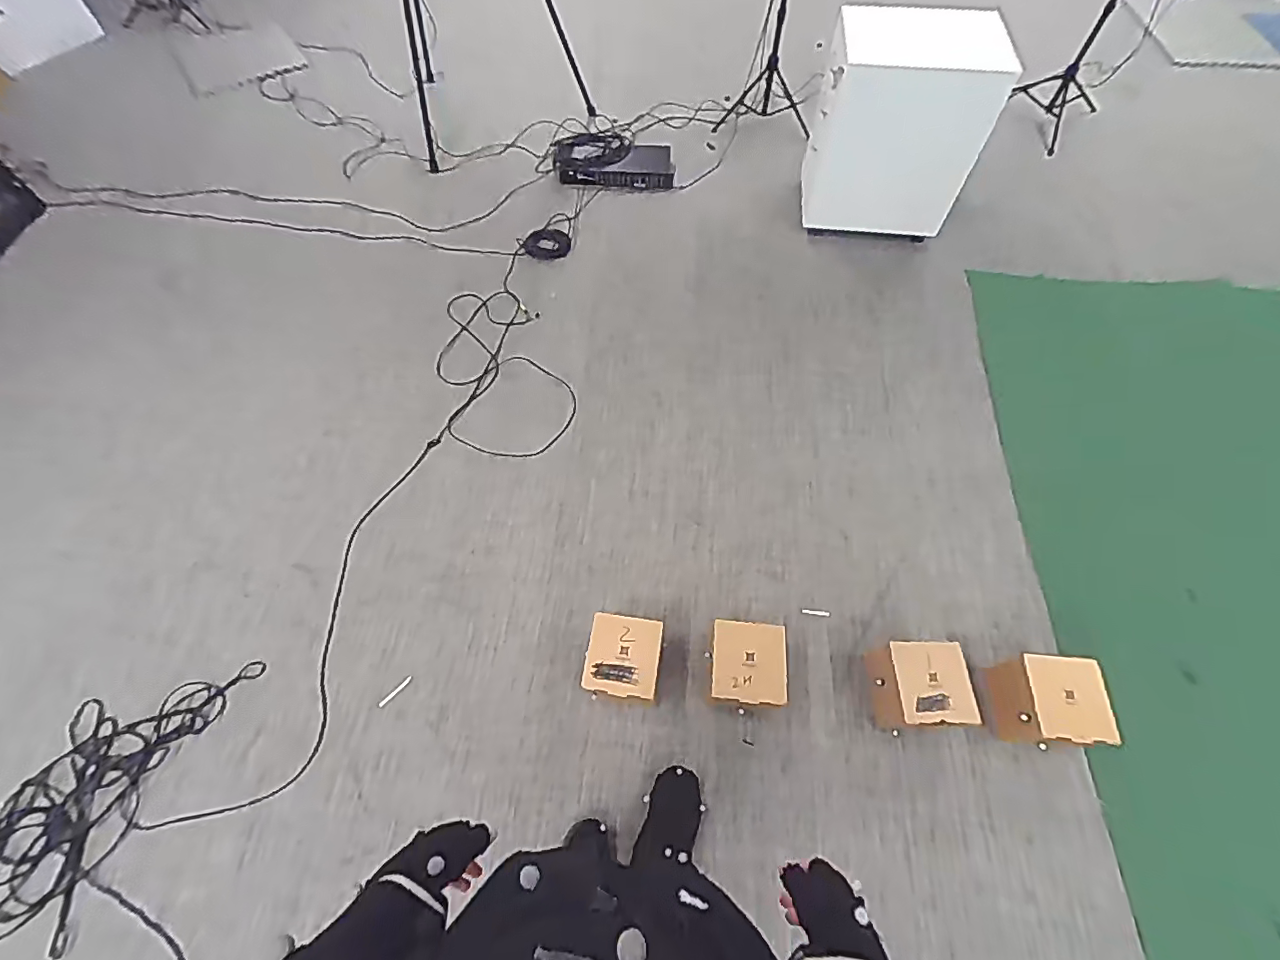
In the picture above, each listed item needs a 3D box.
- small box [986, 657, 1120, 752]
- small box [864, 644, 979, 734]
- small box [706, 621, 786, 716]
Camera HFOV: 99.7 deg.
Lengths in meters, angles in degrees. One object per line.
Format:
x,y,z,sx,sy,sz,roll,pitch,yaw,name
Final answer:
0.938,0.522,1.251,0.168,0.176,0.179,4,61,3,small box
0.648,0.493,1.266,0.168,0.176,0.179,1,60,0,small box
0.248,0.452,1.288,0.168,0.176,0.179,5,61,4,small box
